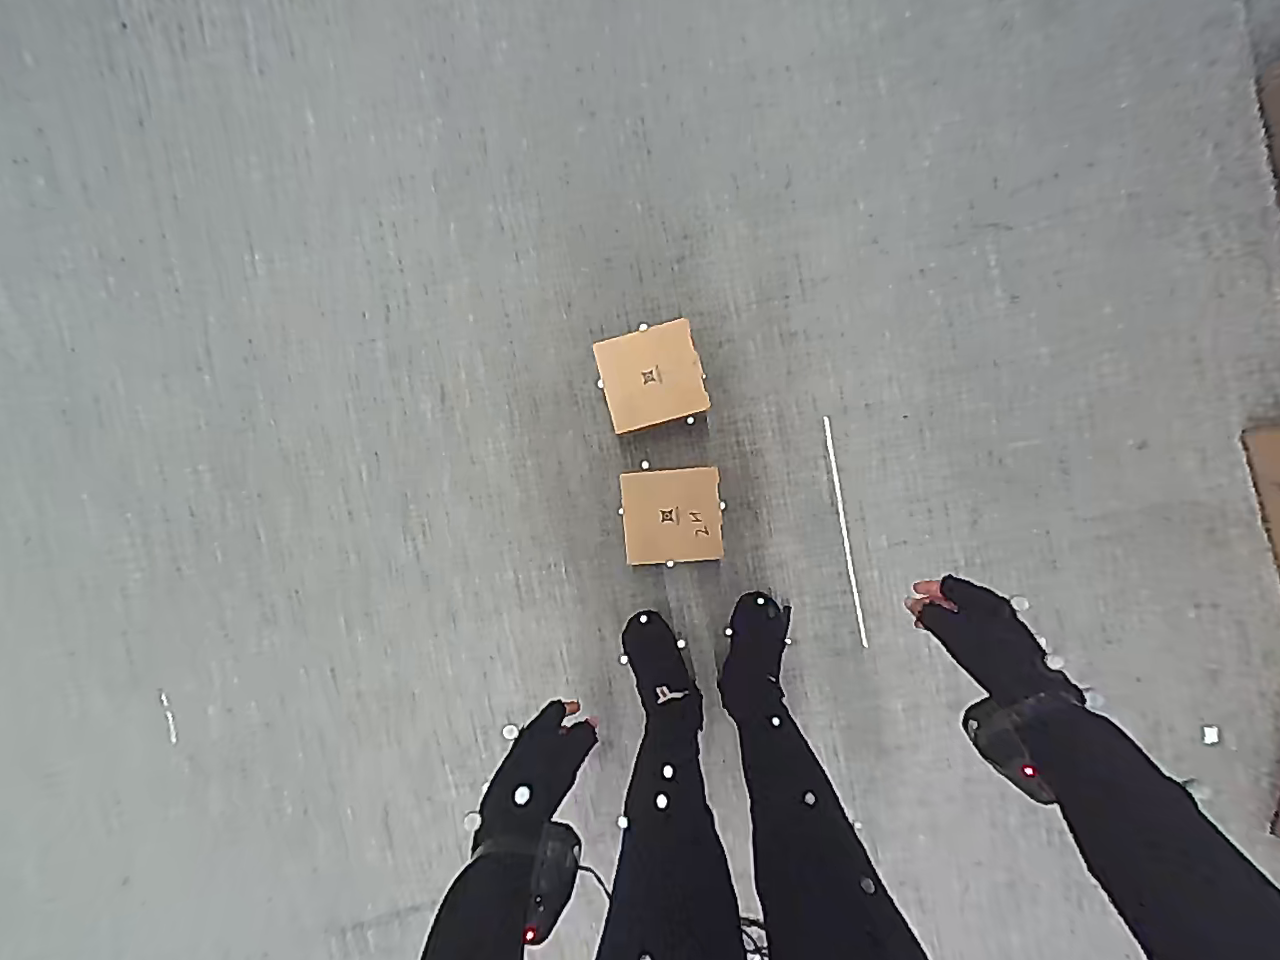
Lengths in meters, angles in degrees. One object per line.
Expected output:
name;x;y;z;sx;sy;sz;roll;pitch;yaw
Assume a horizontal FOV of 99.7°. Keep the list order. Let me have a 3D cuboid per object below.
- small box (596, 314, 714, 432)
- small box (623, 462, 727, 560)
small box;0.032;-0.190;1.017;0.179;0.176;0.168;-15;92;4
small box;0.067;0.053;1.028;0.179;0.176;0.168;-4;94;4
